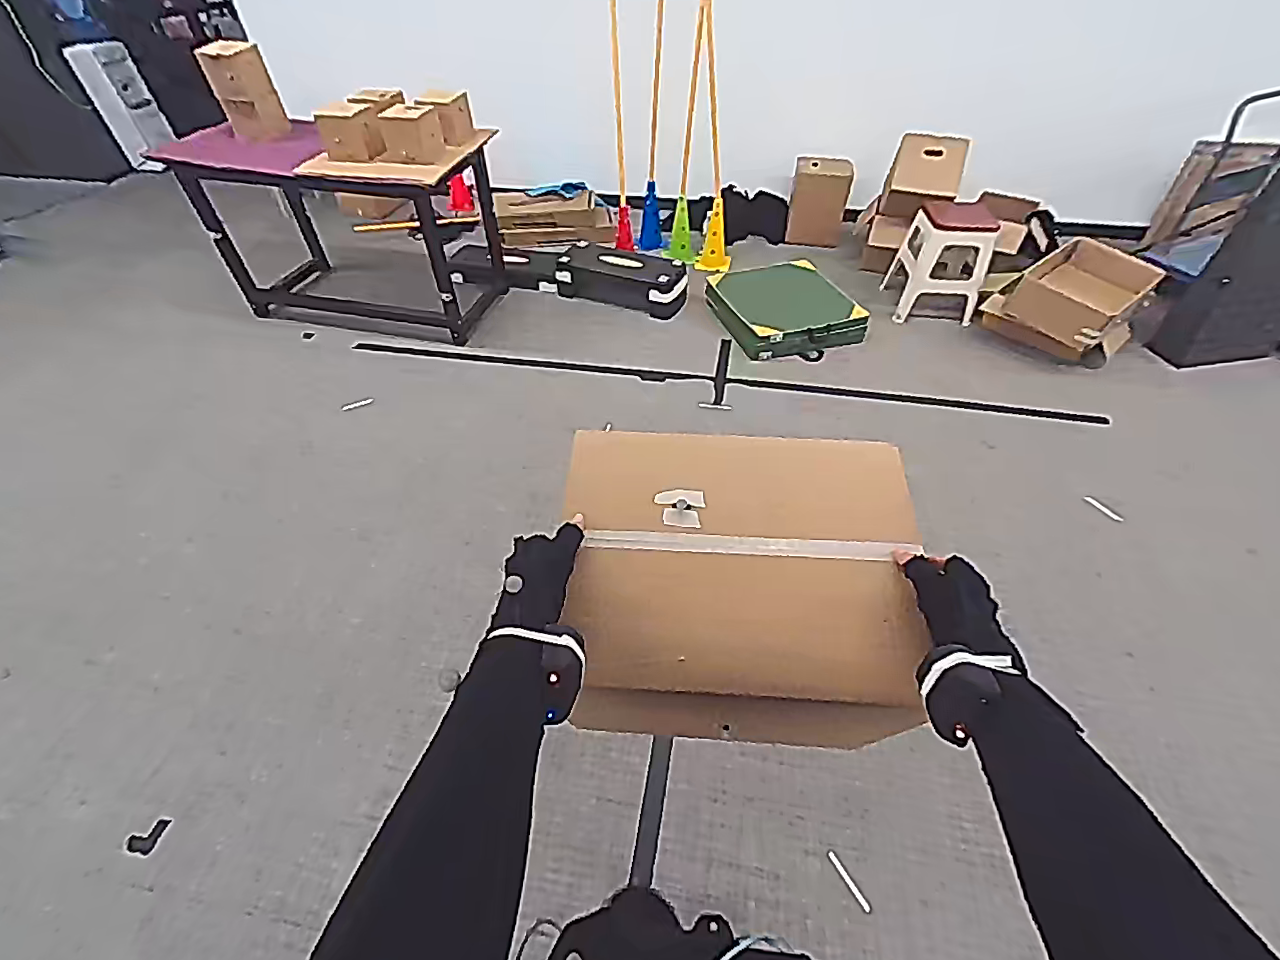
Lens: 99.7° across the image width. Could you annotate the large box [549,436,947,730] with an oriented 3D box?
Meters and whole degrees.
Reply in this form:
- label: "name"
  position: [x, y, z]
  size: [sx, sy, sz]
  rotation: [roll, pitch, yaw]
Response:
- label: "large box"
  position: [0.118, 0.153, 0.741]
  size: [0.408, 0.320, 0.320]
  rotation: [2, 57, 3]
